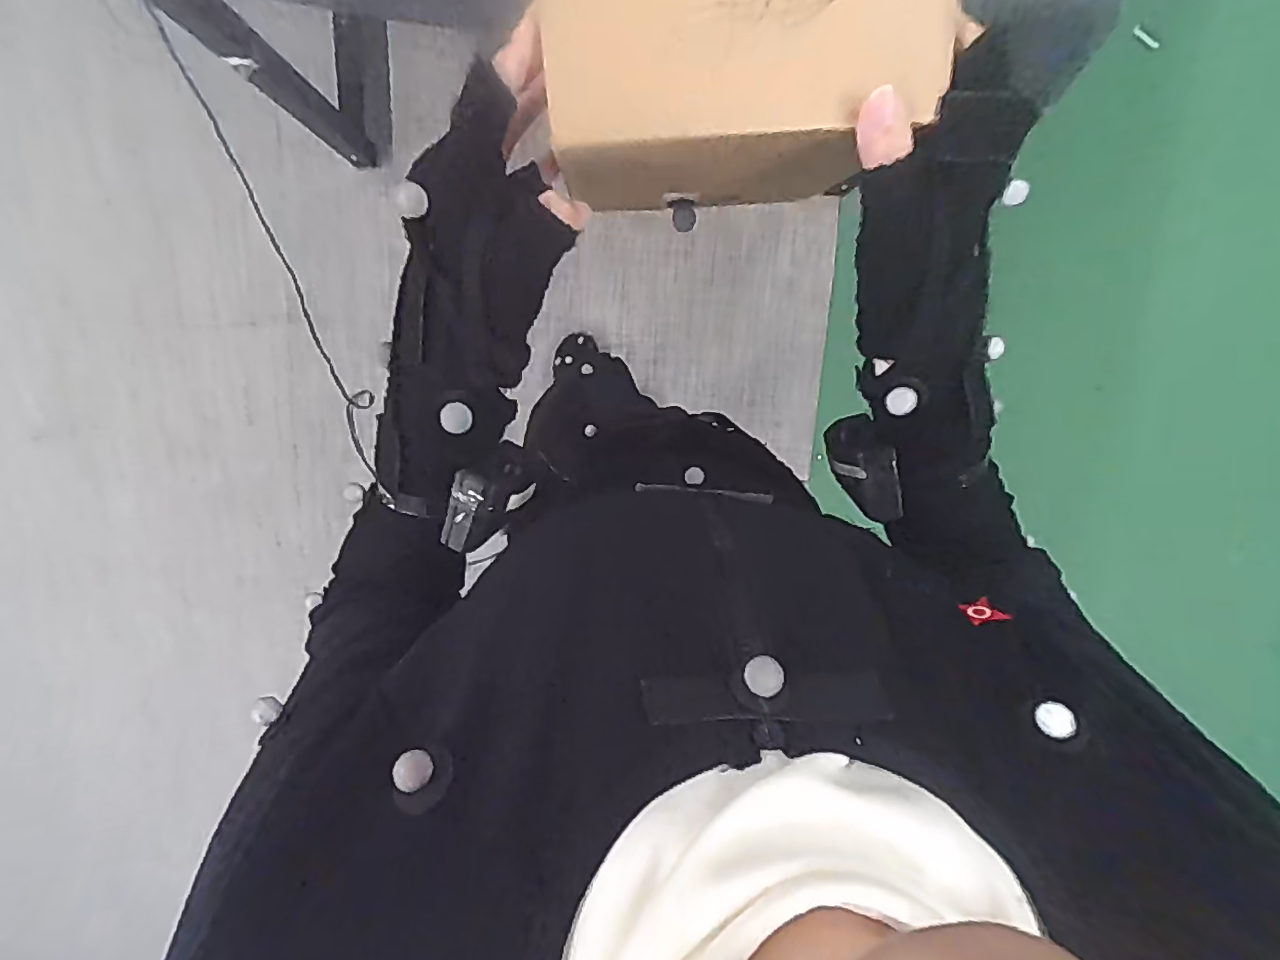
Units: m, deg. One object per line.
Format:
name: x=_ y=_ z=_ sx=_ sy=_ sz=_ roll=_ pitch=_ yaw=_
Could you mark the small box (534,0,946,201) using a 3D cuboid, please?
small box: x=0.034 y=-0.257 z=0.274 sx=0.168 sy=0.176 sz=0.179 roll=-3 pitch=108 yaw=-2
